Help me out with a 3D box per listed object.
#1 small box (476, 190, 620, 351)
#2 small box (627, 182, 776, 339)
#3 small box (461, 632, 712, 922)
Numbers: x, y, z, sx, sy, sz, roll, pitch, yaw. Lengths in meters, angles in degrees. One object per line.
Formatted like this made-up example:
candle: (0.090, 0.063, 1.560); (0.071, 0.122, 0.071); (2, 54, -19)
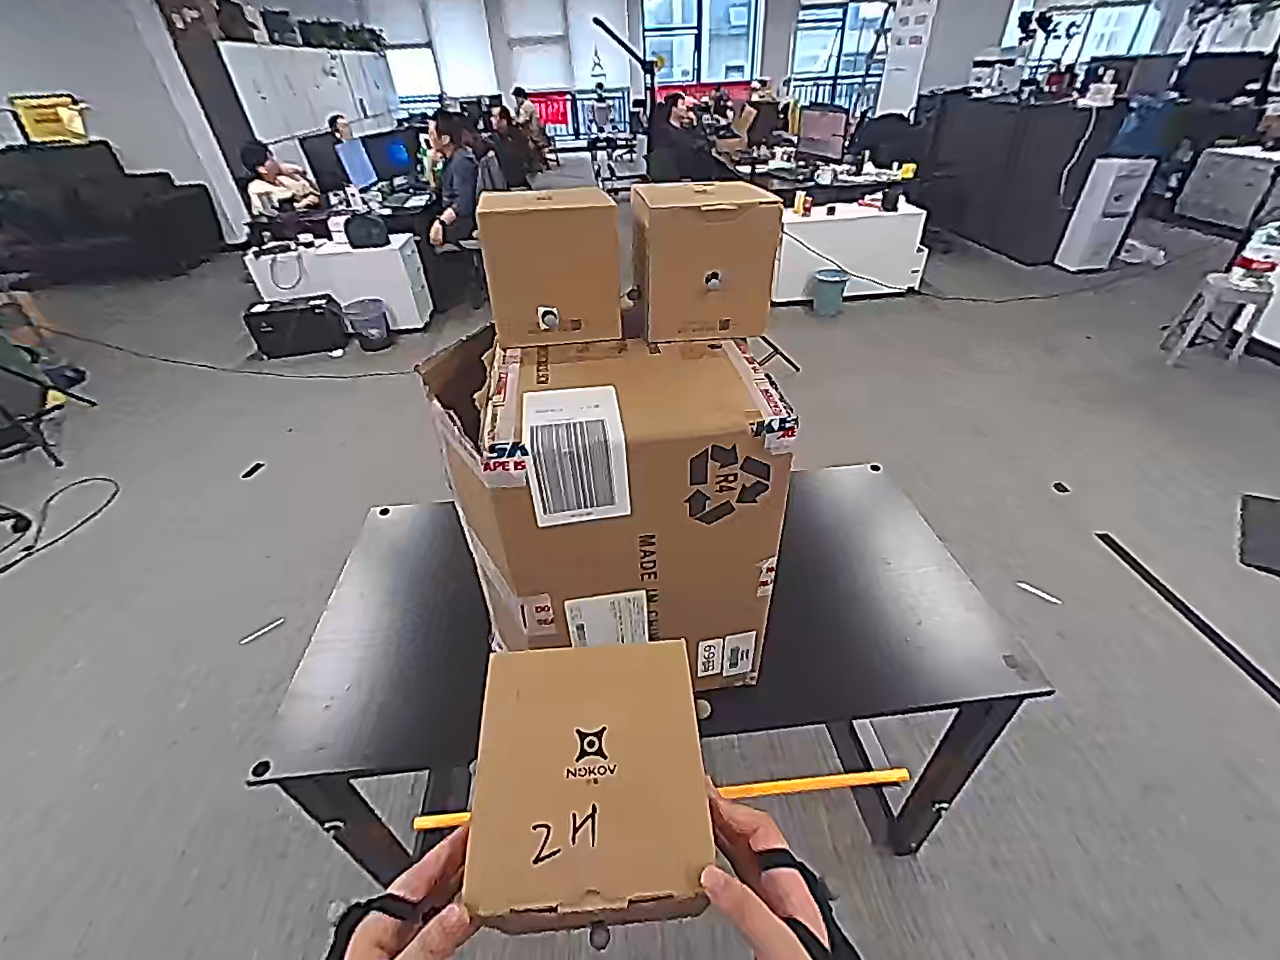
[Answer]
small box: (-0.124, -0.291, 0.746); (0.168, 0.176, 0.179); (-9, 36, -9)
small box: (0.075, -0.304, 0.753); (0.168, 0.176, 0.179); (-5, 38, -7)
small box: (-0.039, 0.253, 0.462); (0.168, 0.176, 0.179); (-4, 47, -2)
